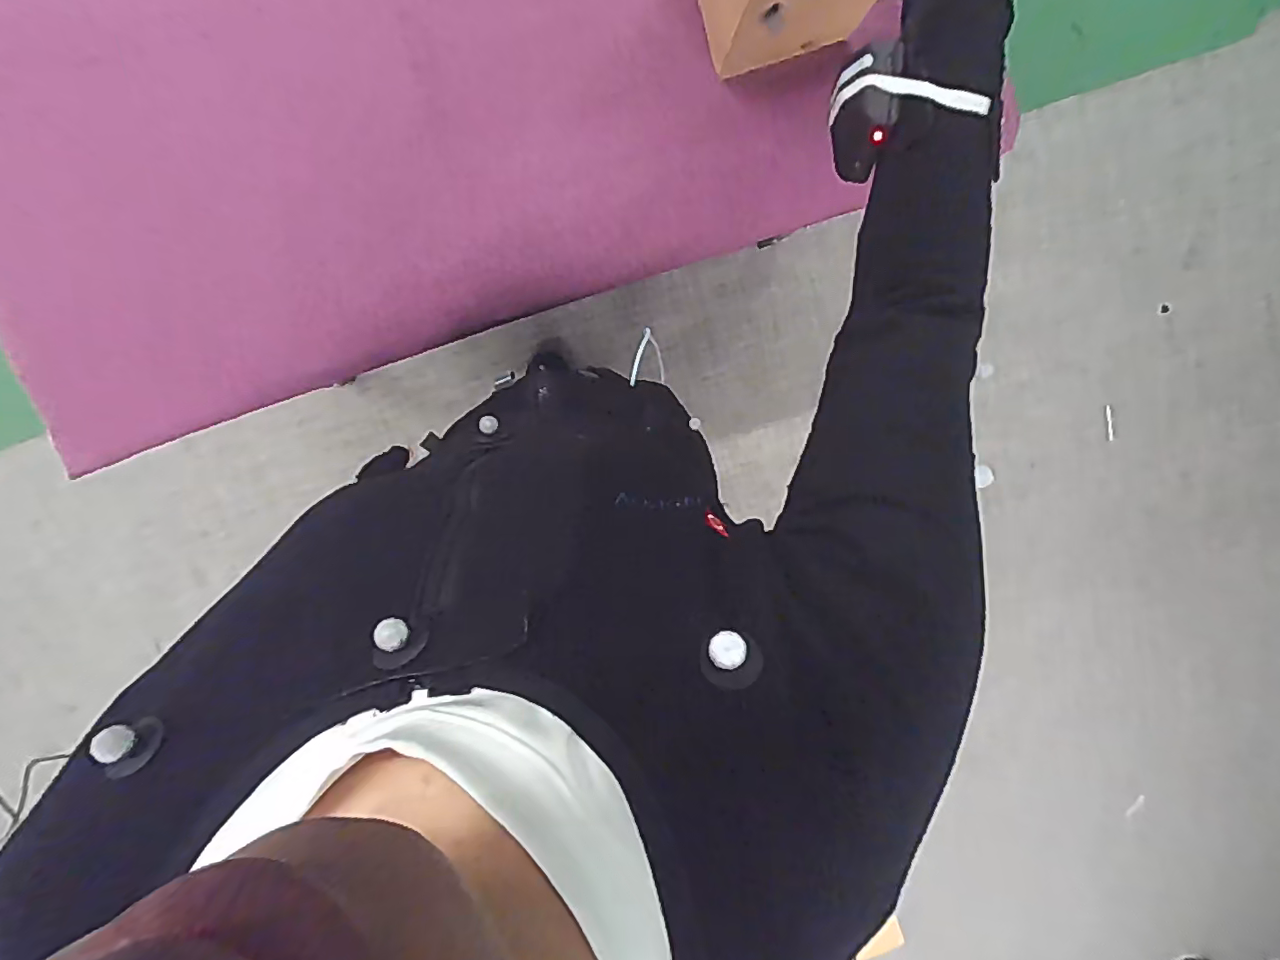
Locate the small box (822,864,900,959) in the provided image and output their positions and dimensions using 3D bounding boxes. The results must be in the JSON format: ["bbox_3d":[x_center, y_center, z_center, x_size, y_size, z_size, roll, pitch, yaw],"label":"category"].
[{"bbox_3d":[0.741,1.454,1.822,0.168,0.176,0.179,-21,103,0],"label":"small box"}]
